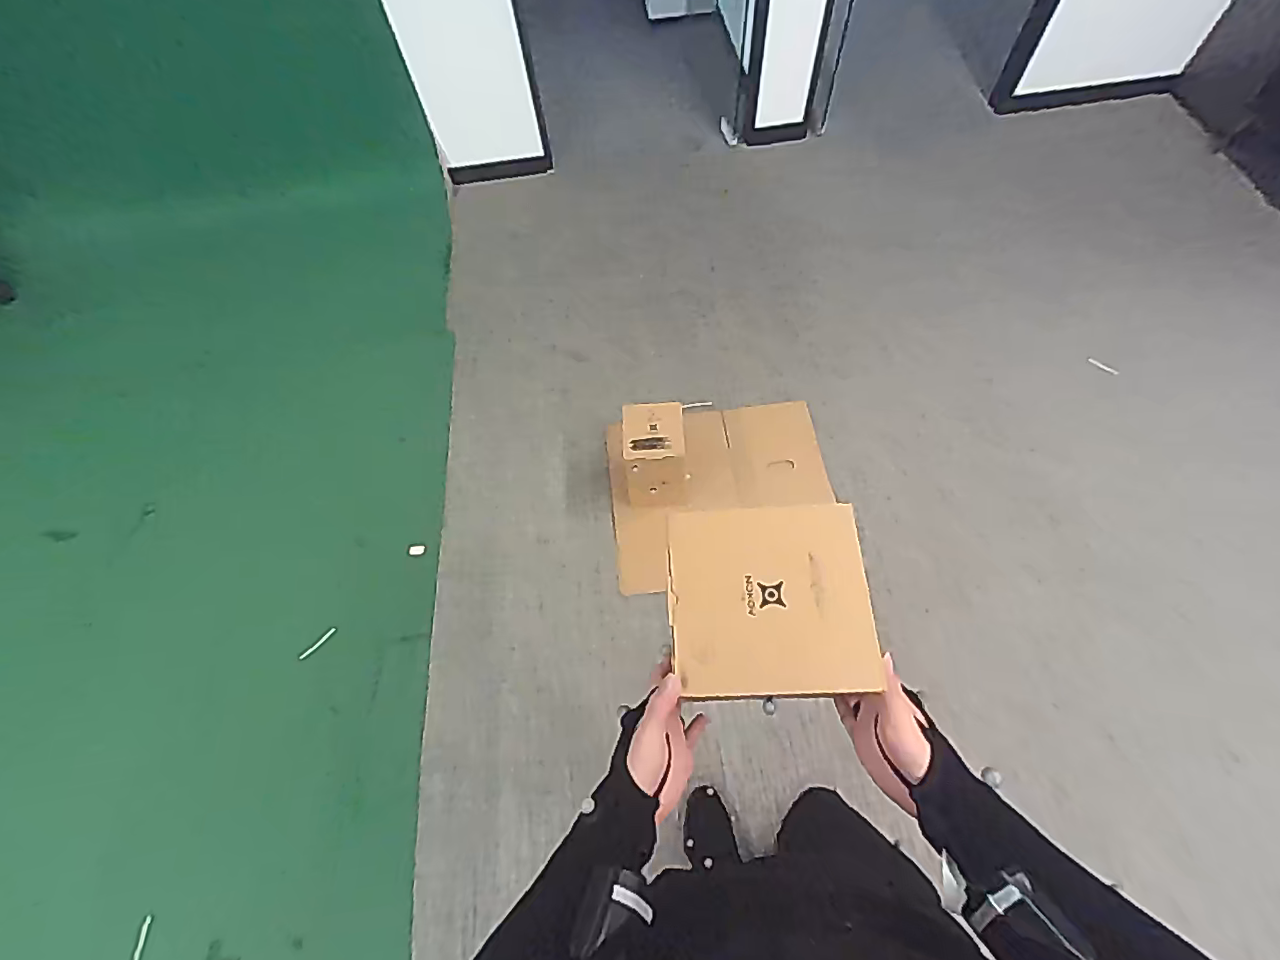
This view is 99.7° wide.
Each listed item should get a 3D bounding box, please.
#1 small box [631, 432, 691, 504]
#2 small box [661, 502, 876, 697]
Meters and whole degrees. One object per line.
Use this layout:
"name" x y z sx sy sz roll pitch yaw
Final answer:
"small box" 0.066 -0.033 1.677 0.179 0.176 0.168 -3 63 3
"small box" 0.119 0.132 0.557 0.179 0.176 0.168 -4 67 7
